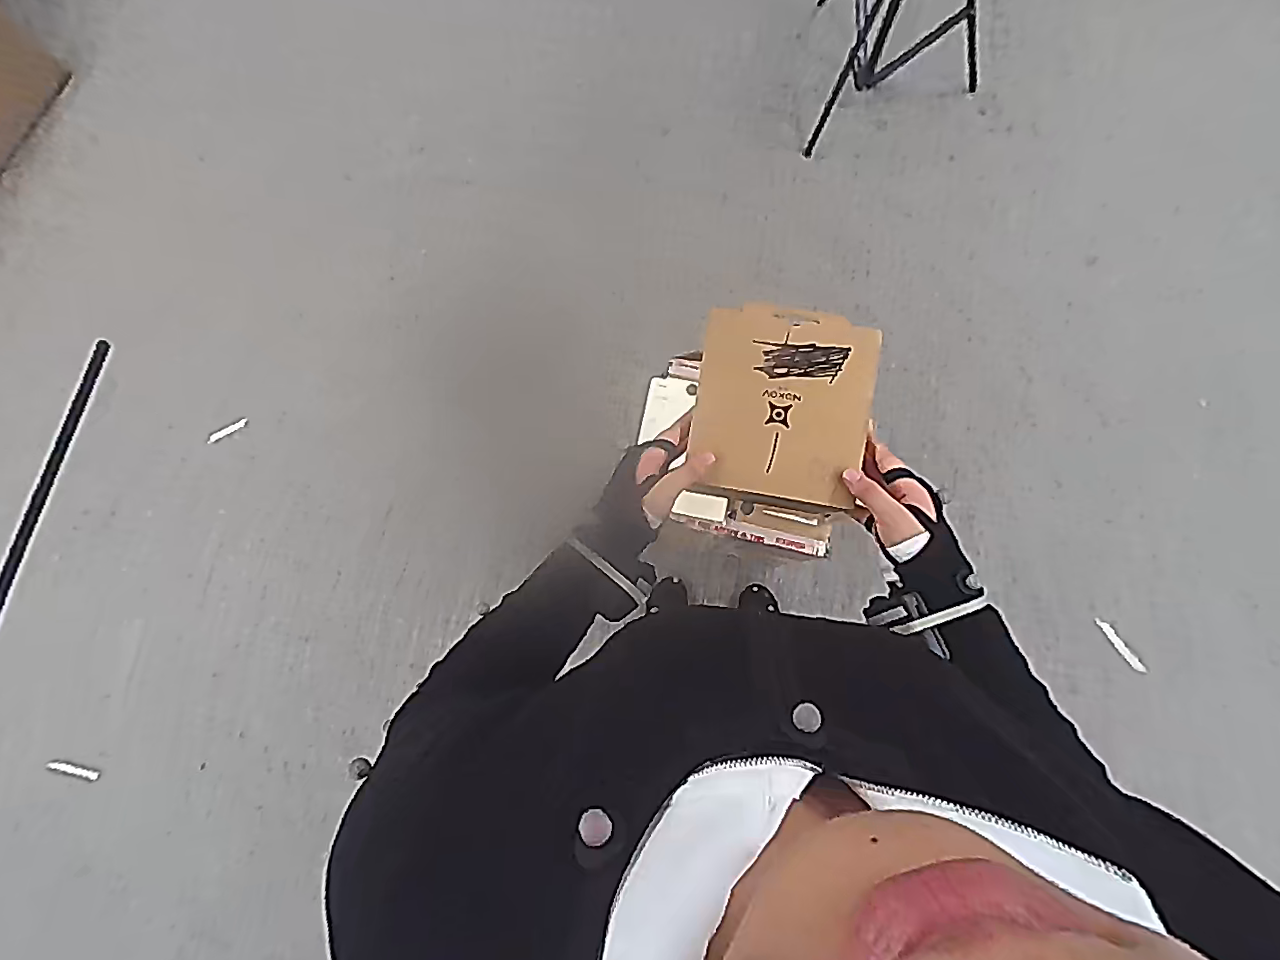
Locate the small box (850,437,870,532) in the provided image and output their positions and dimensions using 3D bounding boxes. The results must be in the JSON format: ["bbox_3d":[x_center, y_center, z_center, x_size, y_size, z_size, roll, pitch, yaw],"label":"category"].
[{"bbox_3d":[0.296,0.004,0.993,0.179,0.176,0.168,9,81,4],"label":"small box"}]

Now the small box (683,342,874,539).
[{"bbox_3d":[0.142,-0.035,0.610,0.168,0.176,0.179,9,87,6],"label":"small box"}]
